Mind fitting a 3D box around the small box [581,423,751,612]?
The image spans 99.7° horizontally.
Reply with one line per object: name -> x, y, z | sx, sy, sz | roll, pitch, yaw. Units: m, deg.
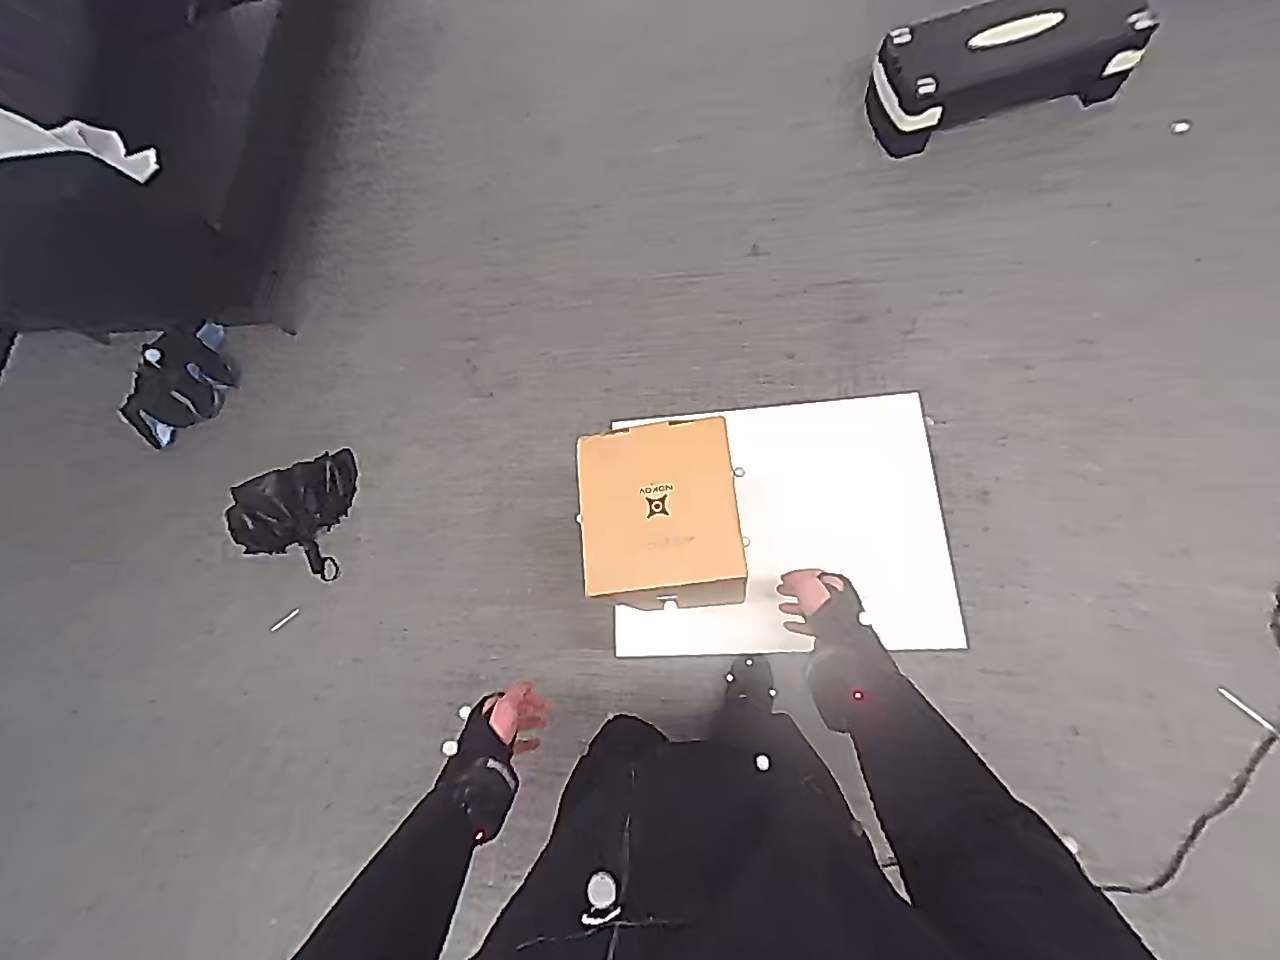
small box -> 0.035, 0.054, 0.636 | 0.168, 0.176, 0.179 | -9, 72, 10
